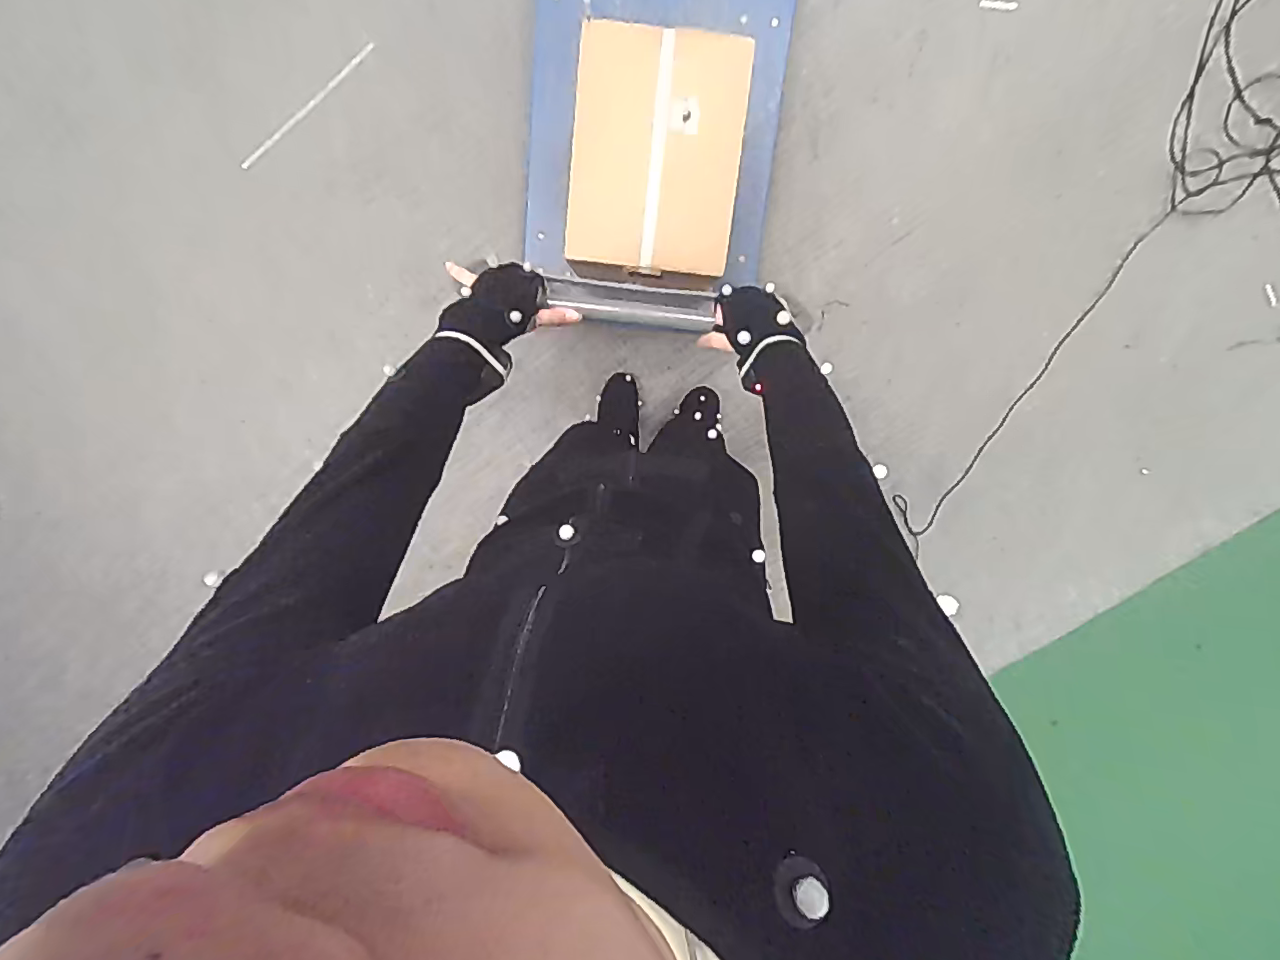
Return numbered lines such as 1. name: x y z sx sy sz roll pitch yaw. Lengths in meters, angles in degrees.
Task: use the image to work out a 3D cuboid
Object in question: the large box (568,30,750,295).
1. large box: 0.033 -0.637 1.166 0.320 0.320 0.408 6 102 -2
